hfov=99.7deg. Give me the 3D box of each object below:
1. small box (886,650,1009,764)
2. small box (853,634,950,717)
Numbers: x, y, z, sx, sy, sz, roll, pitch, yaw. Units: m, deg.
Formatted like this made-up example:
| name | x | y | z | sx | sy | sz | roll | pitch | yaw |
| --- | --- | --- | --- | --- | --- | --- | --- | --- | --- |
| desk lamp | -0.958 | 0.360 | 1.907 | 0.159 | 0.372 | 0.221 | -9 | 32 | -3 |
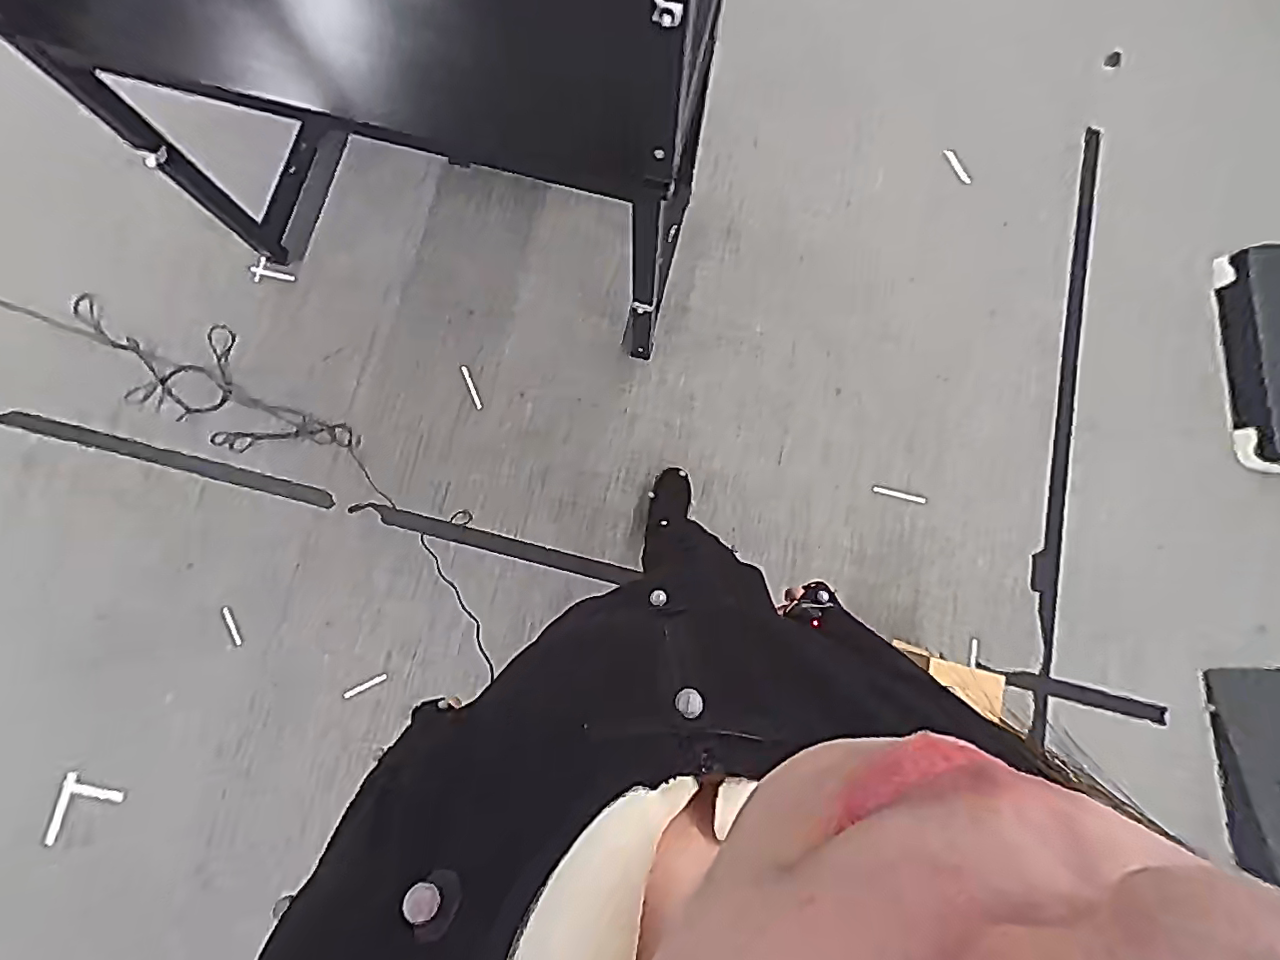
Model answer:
| name | x | y | z | sx | sy | sz | roll | pitch | yaw |
| --- | --- | --- | --- | --- | --- | --- | --- | --- | --- |
| small box | 0.677 | 0.496 | 1.209 | 0.168 | 0.176 | 0.179 | 15 | 80 | 1 |
| small box | 0.664 | 0.510 | 1.373 | 0.168 | 0.176 | 0.179 | 20 | 82 | 2 |
